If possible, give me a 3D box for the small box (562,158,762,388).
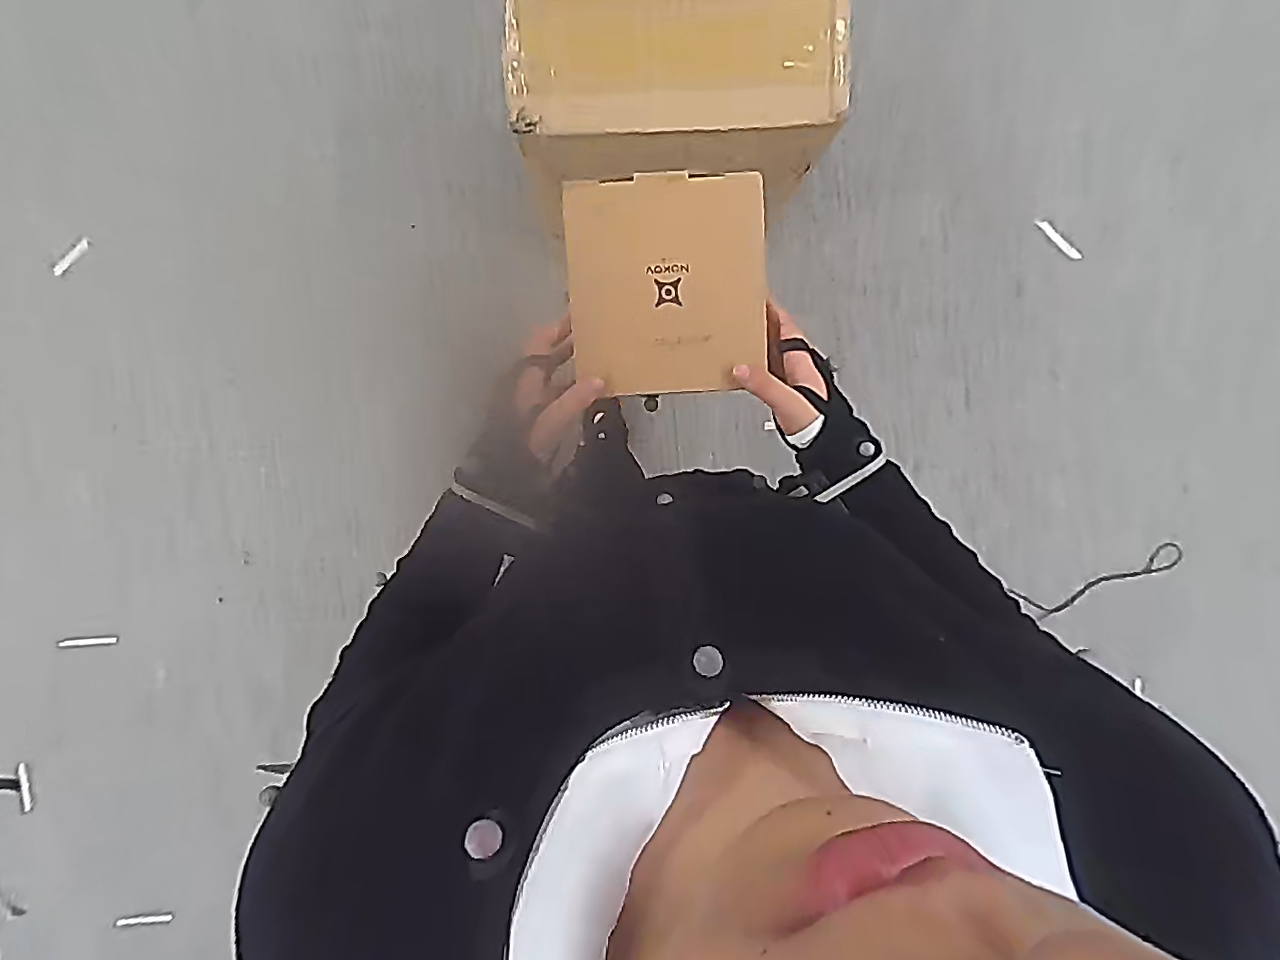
[{"bbox_3d":[0.017,-0.185,0.530,0.168,0.176,0.179,-4,99,-1],"label":"small box"}]
